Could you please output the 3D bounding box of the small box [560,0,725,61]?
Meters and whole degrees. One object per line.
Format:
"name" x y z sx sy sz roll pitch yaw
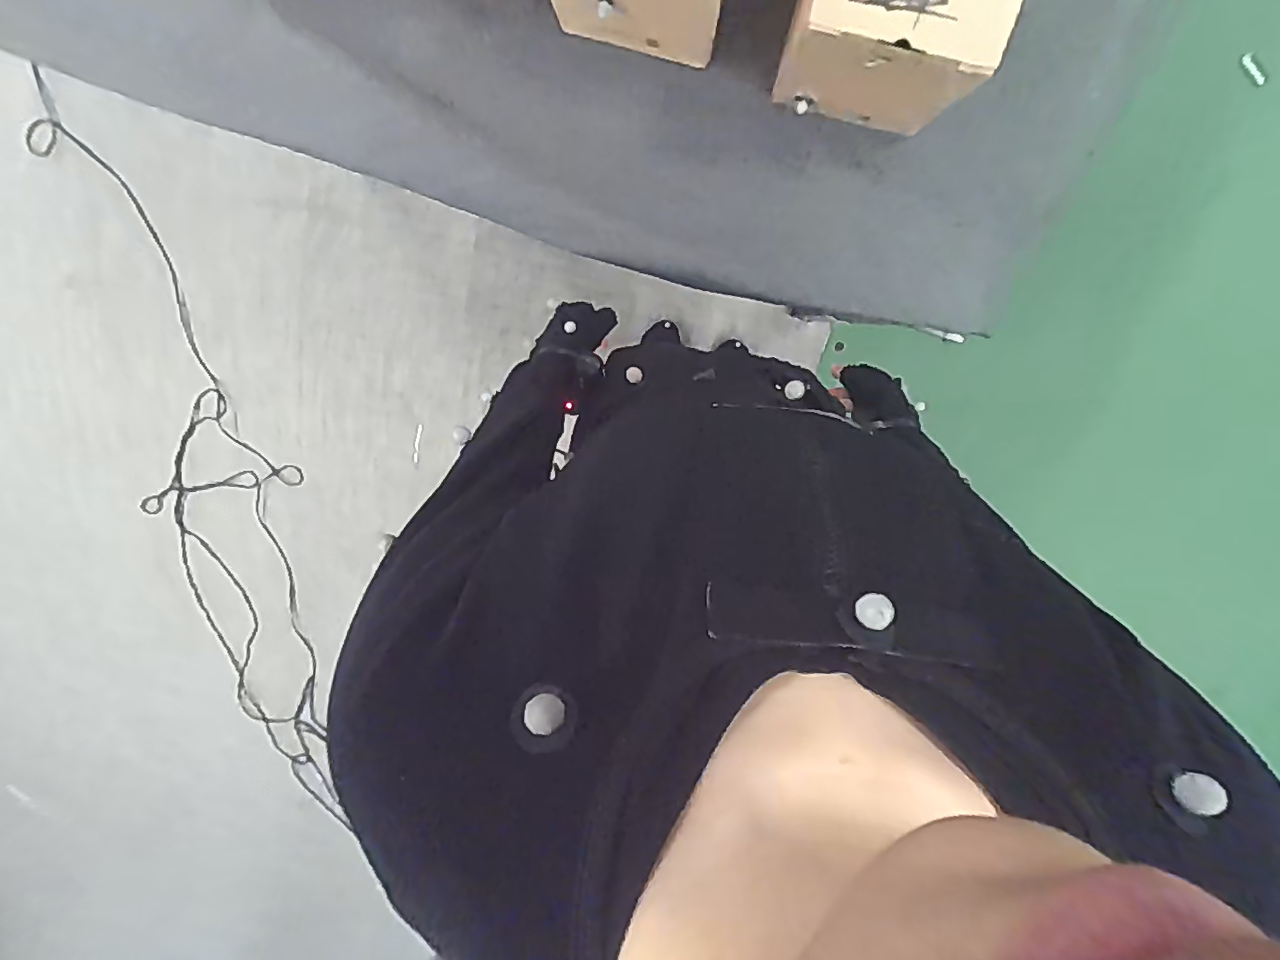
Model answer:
"small box" 0.011 -0.527 0.489 0.168 0.176 0.179 14 107 -1
